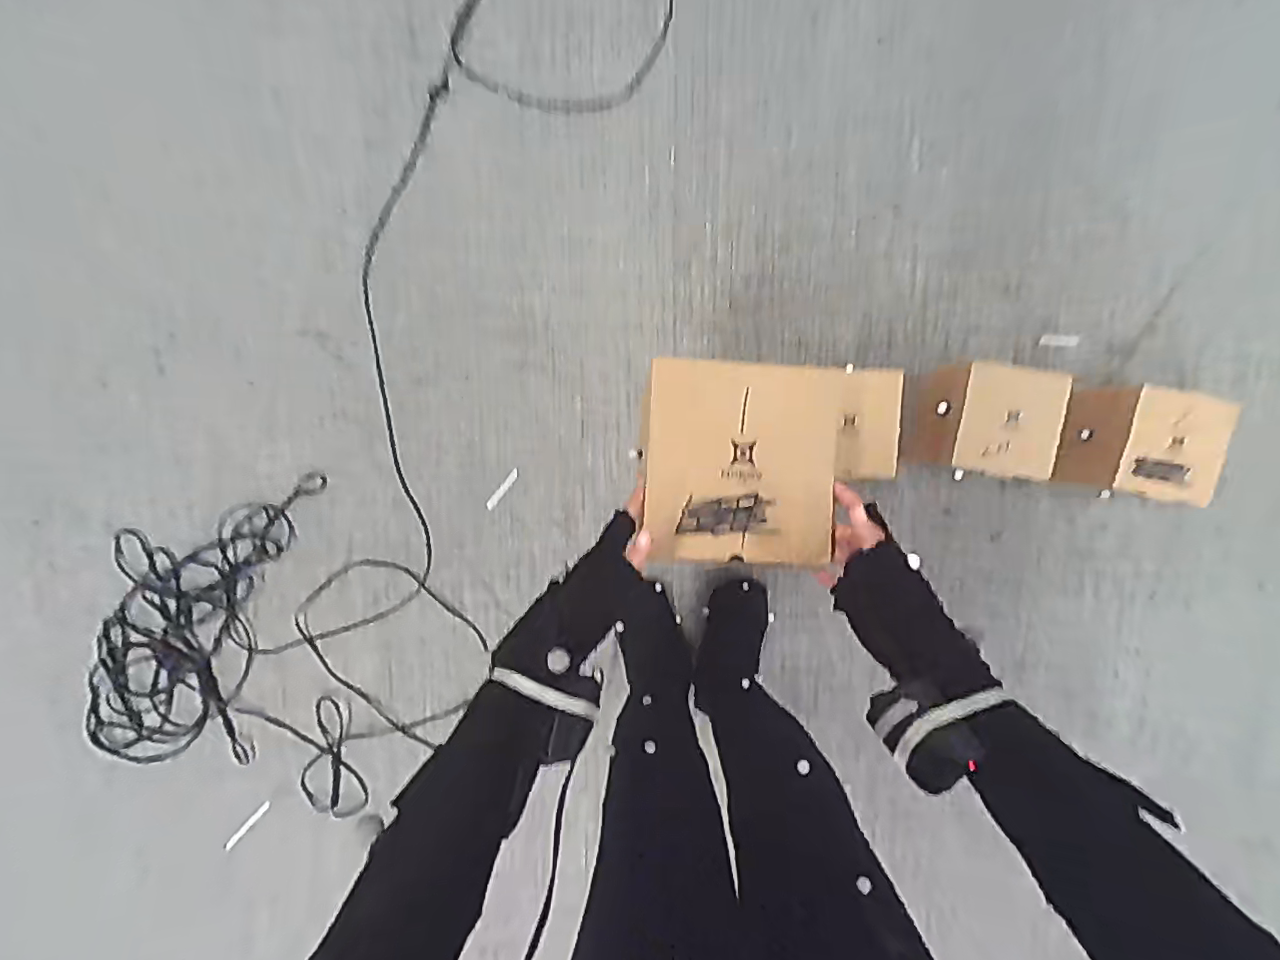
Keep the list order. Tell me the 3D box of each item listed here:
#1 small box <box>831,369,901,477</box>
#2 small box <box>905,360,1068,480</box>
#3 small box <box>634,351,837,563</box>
[{"bbox_3d":[0.340,-0.100,0.962,0.168,0.176,0.179,1,96,1],"label":"small box"},{"bbox_3d":[0.597,-0.104,0.956,0.168,0.176,0.179,9,96,1],"label":"small box"},{"bbox_3d":[0.081,-0.019,0.542,0.168,0.176,0.179,3,89,-2],"label":"small box"}]
